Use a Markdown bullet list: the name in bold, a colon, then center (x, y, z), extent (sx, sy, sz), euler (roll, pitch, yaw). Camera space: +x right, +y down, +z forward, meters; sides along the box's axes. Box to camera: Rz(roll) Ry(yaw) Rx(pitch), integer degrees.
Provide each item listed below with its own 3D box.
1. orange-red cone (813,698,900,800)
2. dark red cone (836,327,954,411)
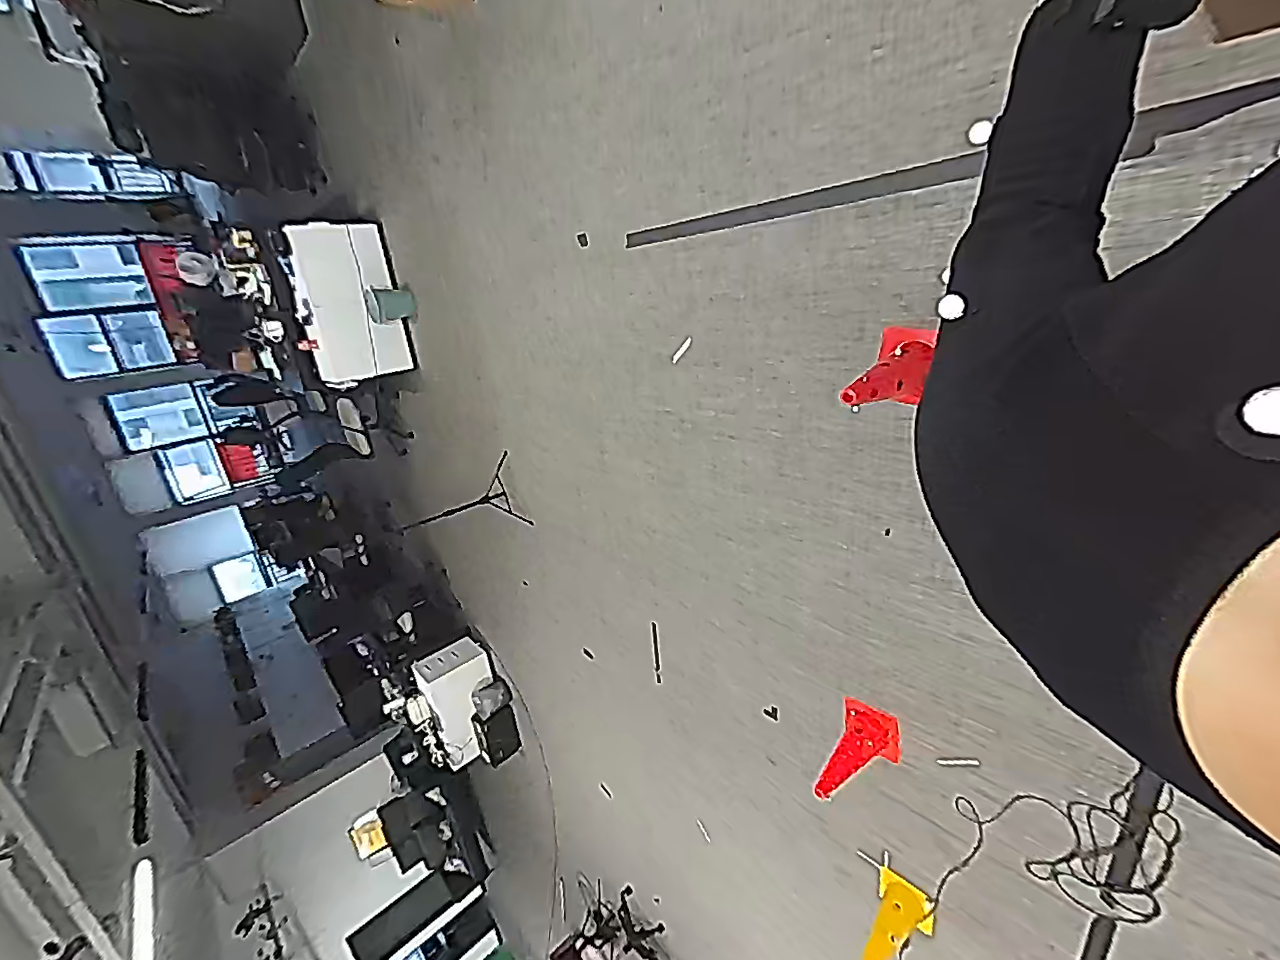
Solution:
- **orange-red cone**: center (0.701, 0.949, 1.828), extent (0.198, 0.360, 0.199), euler (13, 119, 48)
- **dark red cone**: center (0.587, -0.241, 1.316), extent (0.201, 0.394, 0.202), euler (22, 124, 42)
